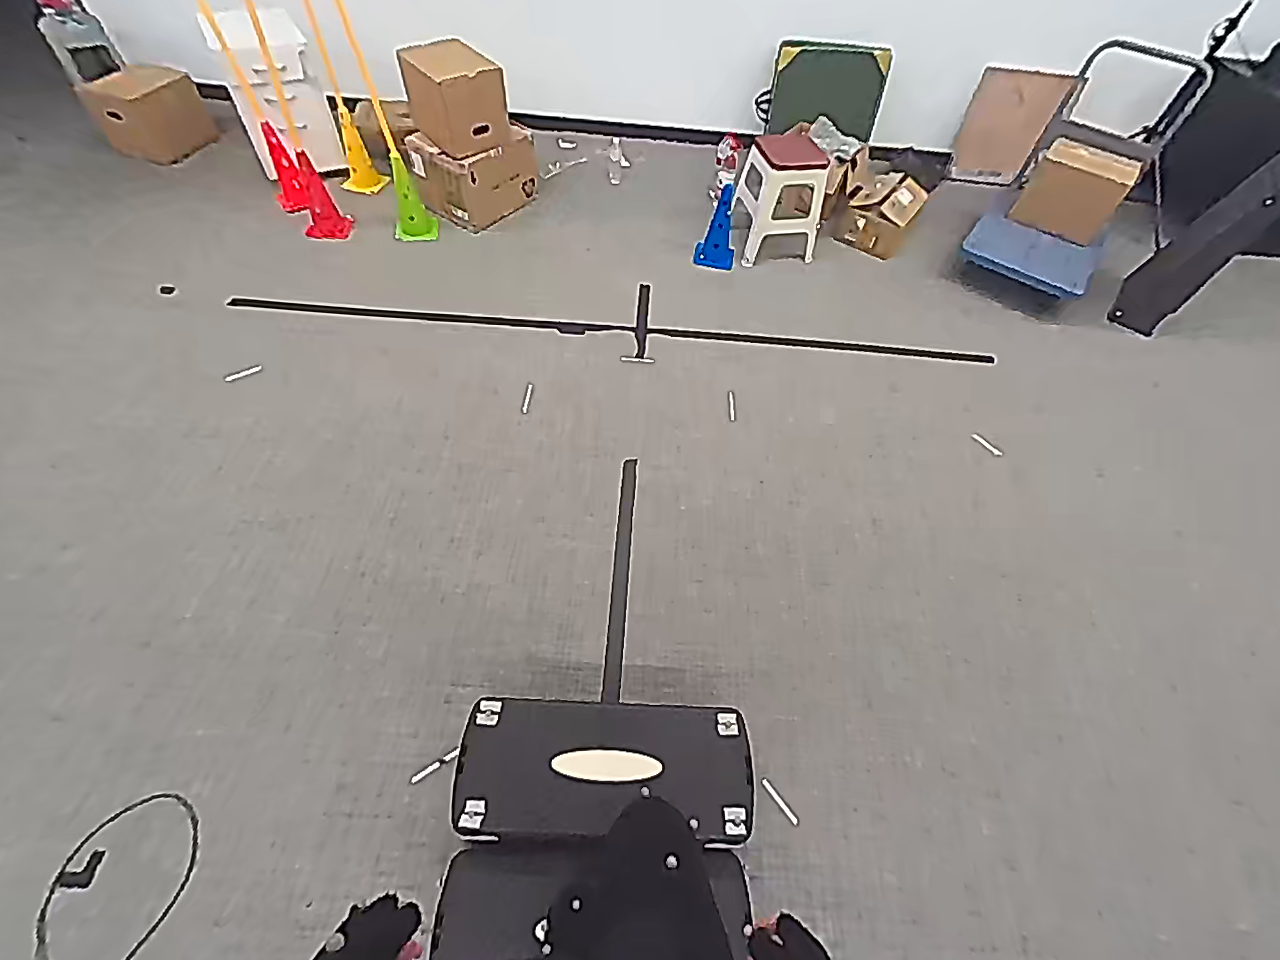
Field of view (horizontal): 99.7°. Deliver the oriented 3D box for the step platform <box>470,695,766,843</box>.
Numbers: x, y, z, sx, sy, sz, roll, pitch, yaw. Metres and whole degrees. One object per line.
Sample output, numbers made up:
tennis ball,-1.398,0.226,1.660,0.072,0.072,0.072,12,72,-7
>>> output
step platform,-0.048,0.689,1.295,0.684,0.204,0.286,4,54,-3
